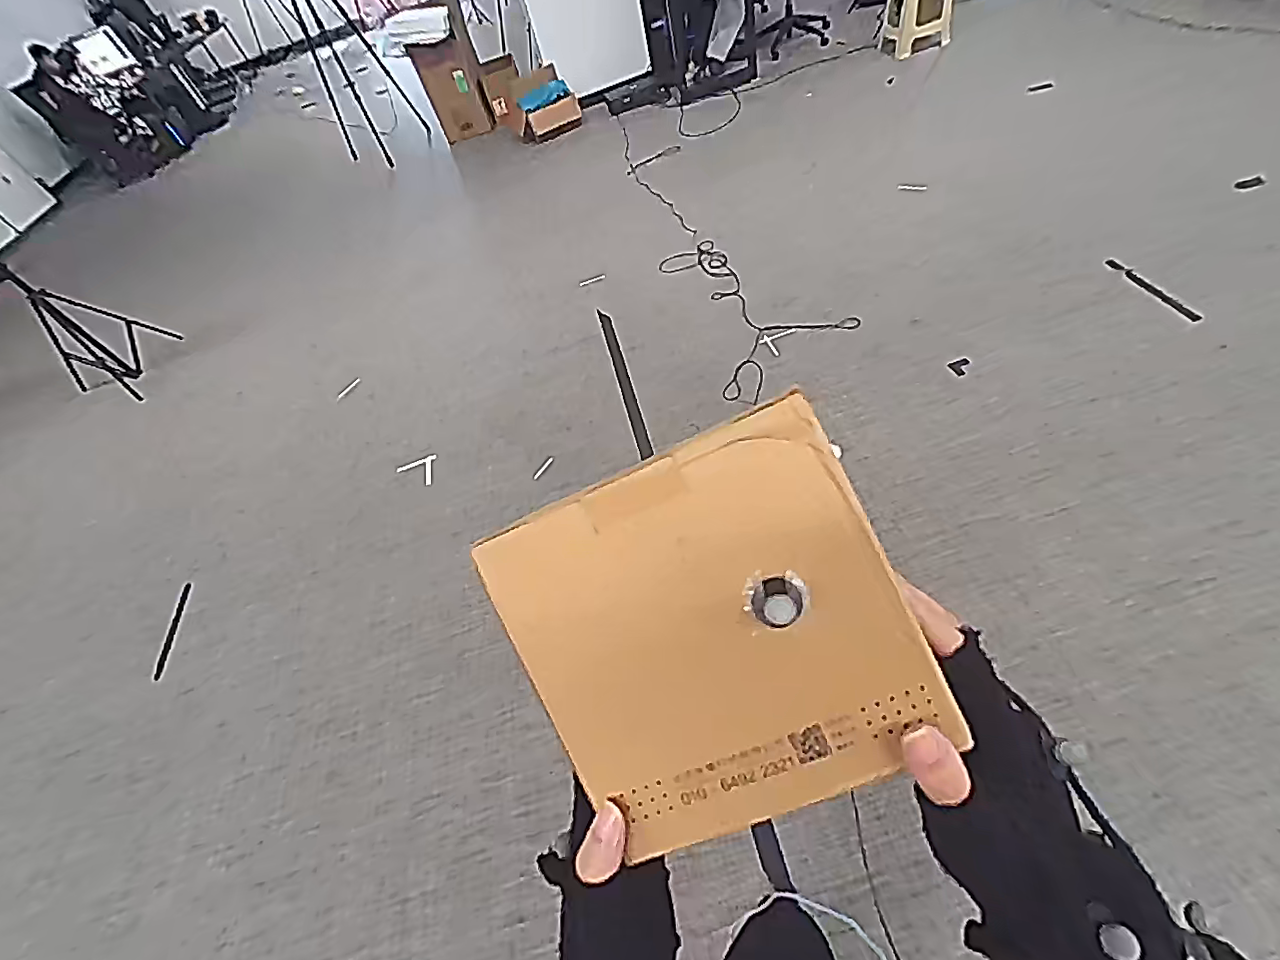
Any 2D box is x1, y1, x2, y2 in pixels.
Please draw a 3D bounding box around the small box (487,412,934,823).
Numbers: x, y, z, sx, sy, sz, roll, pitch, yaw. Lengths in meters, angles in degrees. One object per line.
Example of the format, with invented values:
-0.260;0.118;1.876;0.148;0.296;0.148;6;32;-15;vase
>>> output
0.045;0.072;0.333;0.168;0.179;0.176;-26;91;12;small box
